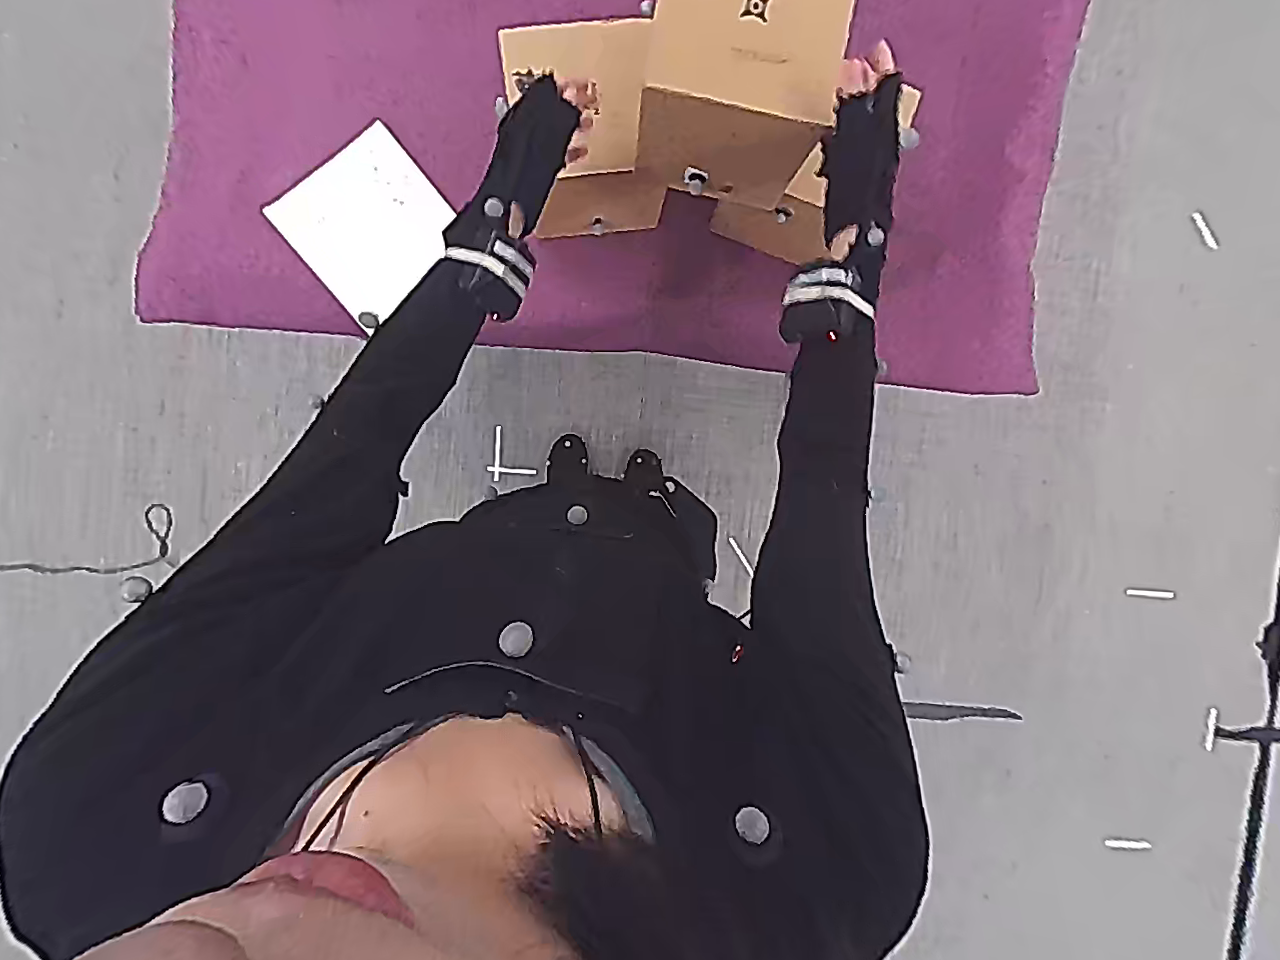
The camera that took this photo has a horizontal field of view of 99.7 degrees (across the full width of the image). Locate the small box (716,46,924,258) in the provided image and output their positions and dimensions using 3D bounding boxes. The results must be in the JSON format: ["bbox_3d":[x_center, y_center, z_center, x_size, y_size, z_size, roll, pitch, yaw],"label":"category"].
[{"bbox_3d":[0.212,-0.411,0.691,0.179,0.176,0.168,19,92,-4],"label":"small box"}]

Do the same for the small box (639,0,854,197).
[{"bbox_3d":[0.092,-0.411,0.522,0.168,0.176,0.179,10,93,-3],"label":"small box"}]

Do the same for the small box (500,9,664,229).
[{"bbox_3d":[-0.065,-0.433,0.674,0.179,0.176,0.168,-7,93,-4],"label":"small box"}]
